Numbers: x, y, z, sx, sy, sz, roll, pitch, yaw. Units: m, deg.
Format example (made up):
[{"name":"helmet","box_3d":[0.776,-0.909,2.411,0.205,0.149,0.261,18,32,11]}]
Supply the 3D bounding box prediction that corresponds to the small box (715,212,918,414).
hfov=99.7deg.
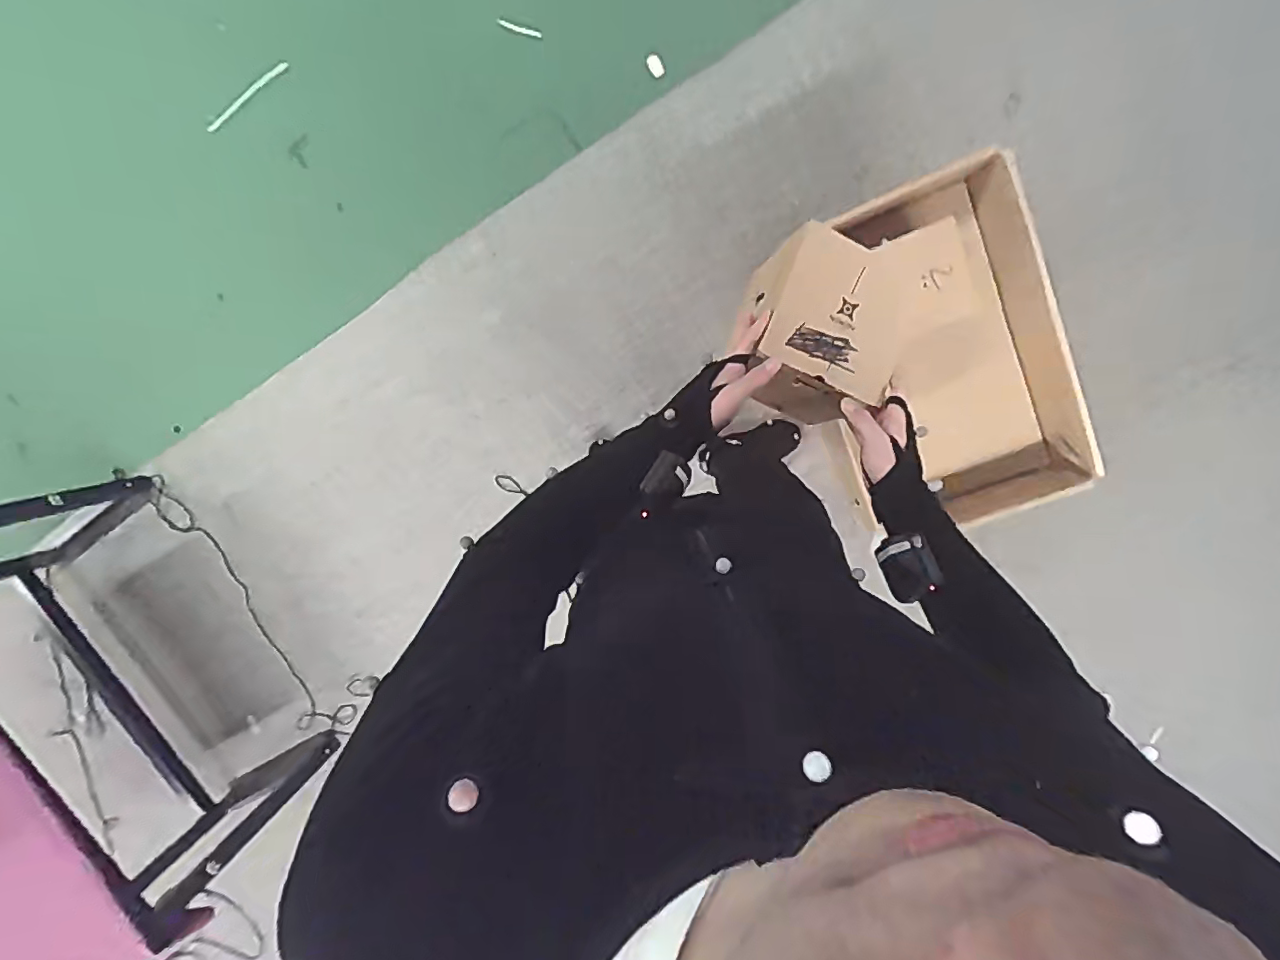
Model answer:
[{"name":"small box","box_3d":[0.214,-0.199,0.707,0.168,0.176,0.179,22,86,-10]}]
